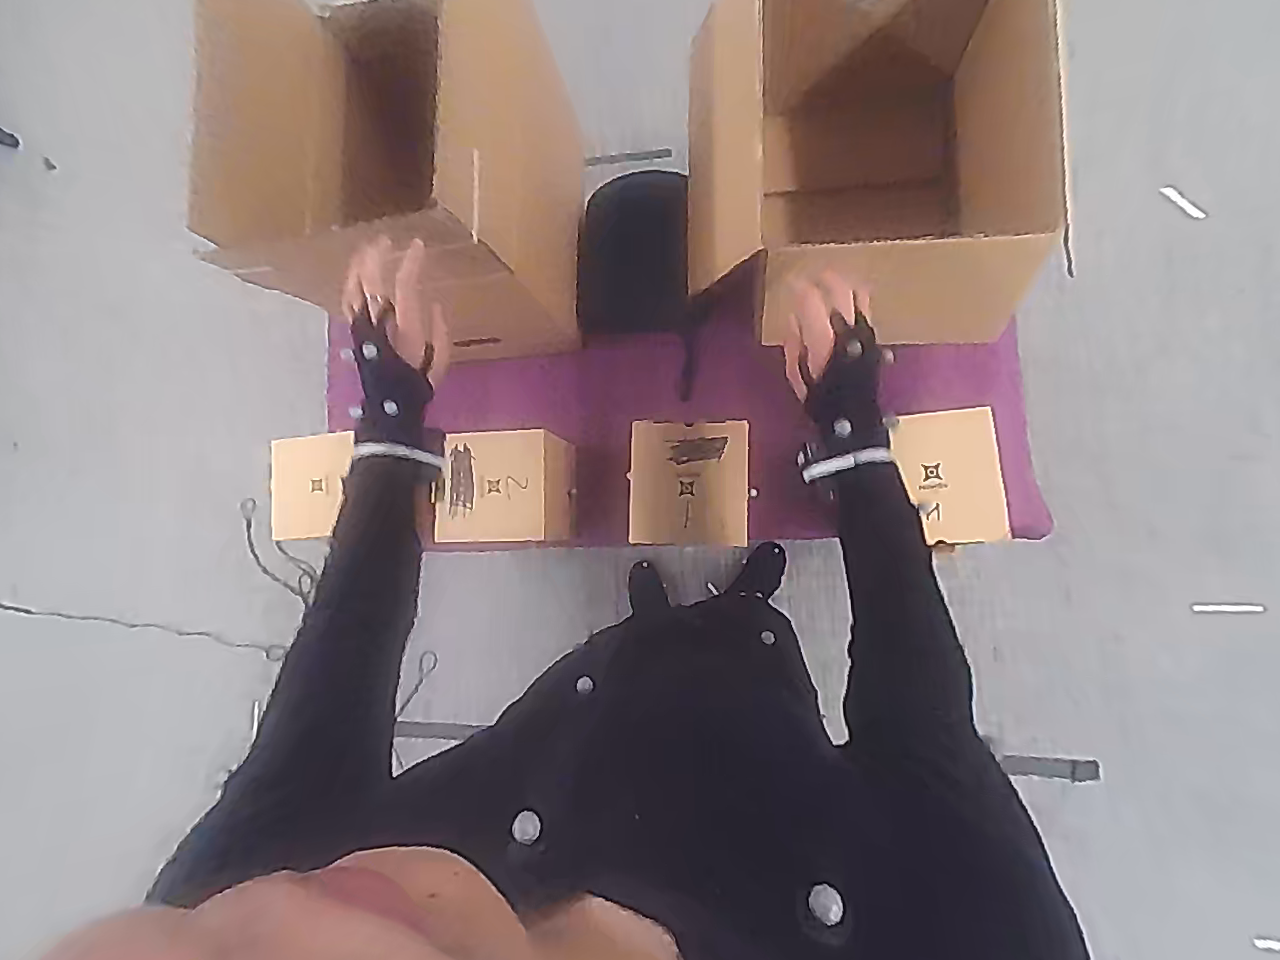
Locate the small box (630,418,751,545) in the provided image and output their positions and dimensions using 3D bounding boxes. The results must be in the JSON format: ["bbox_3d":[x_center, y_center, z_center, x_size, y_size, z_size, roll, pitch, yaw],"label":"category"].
[{"bbox_3d":[0.083,0.007,0.834,0.168,0.176,0.179,1,86,11],"label":"small box"}]

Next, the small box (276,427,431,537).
[{"bbox_3d":[-0.488,0.012,0.937,0.179,0.176,0.168,-6,84,8],"label":"small box"}]

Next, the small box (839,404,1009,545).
[{"bbox_3d":[0.391,0.001,0.777,0.168,0.176,0.179,-5,84,11],"label":"small box"}]
